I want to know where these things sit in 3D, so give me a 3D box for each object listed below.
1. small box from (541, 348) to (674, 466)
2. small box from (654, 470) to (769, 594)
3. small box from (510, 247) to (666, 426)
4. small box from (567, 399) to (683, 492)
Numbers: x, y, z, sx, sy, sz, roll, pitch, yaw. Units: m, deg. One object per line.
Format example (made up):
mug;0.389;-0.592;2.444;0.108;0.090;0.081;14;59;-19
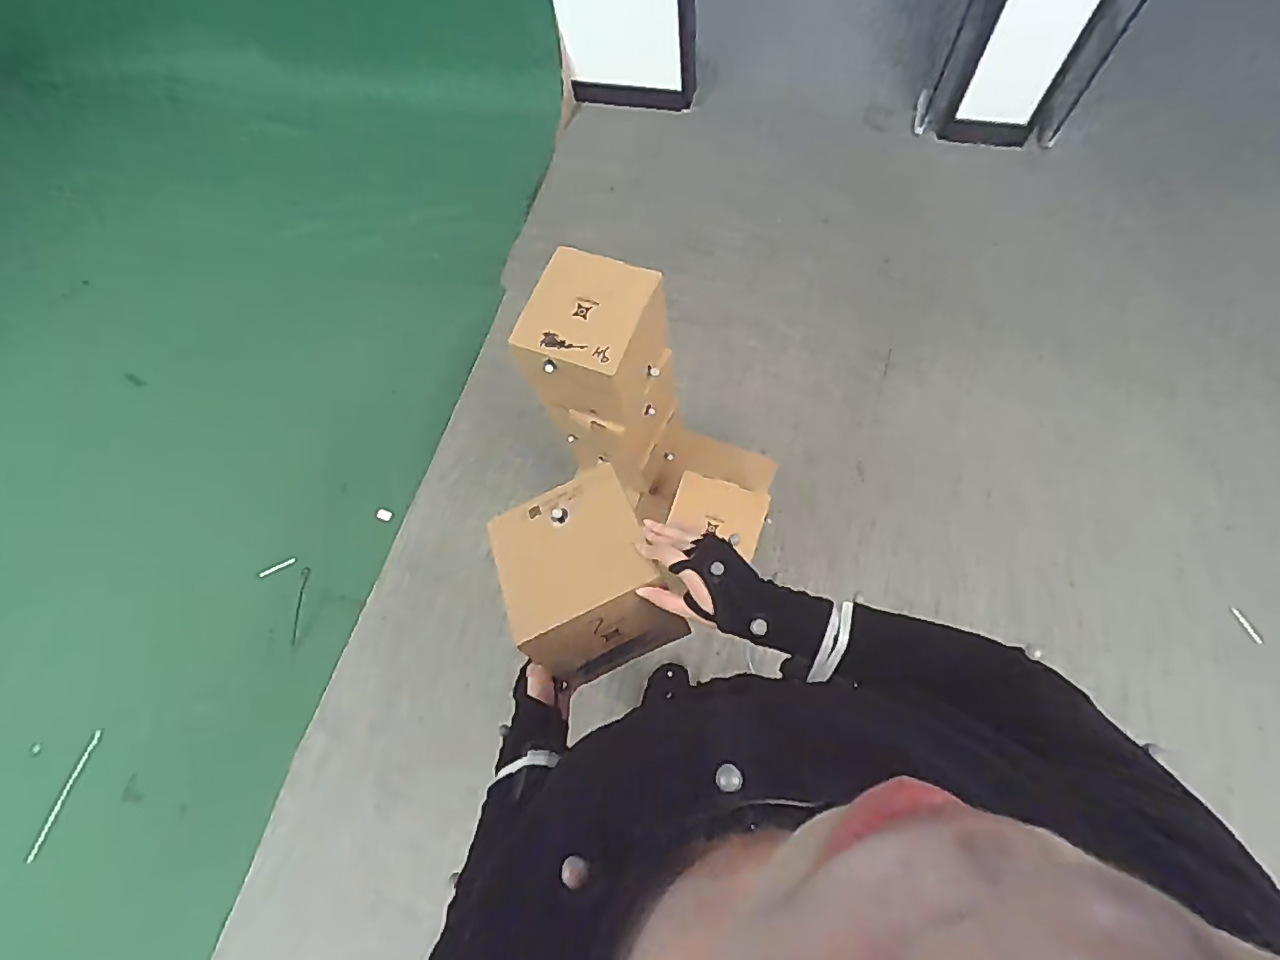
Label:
small box;-0.046;-0.151;0.977;0.168;0.176;0.179;27;75;15
small box;0.140;0.108;1.040;0.168;0.176;0.179;17;75;12
small box;-0.066;-0.212;0.825;0.168;0.176;0.179;21;74;14
small box;-0.023;-0.095;1.130;0.179;0.176;0.168;26;77;14
